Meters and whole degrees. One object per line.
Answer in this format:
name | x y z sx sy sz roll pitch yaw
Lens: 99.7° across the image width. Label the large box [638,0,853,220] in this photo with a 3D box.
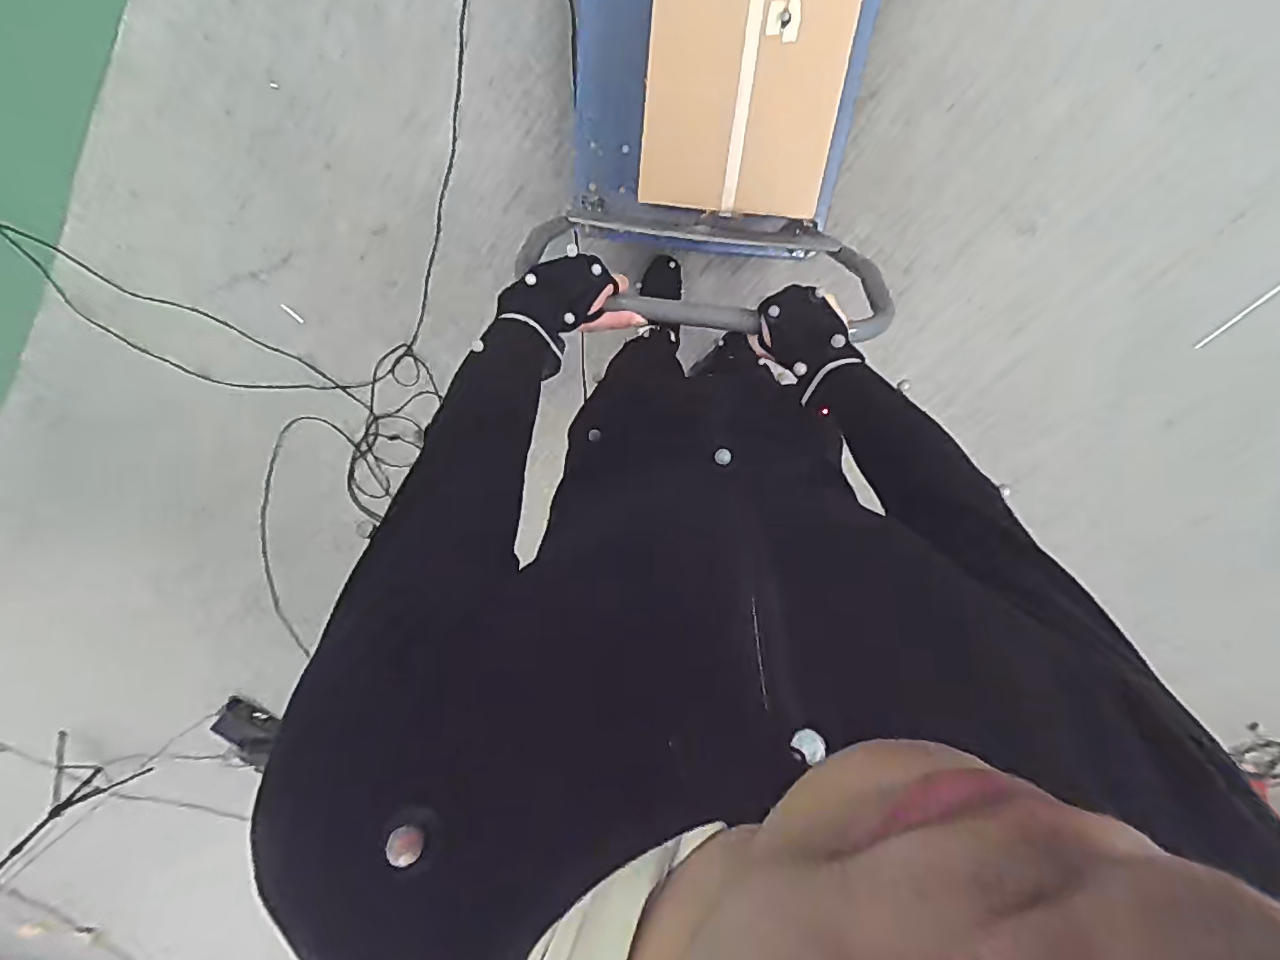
large box | 0.177 -0.720 1.012 0.320 0.320 0.408 7 117 1
